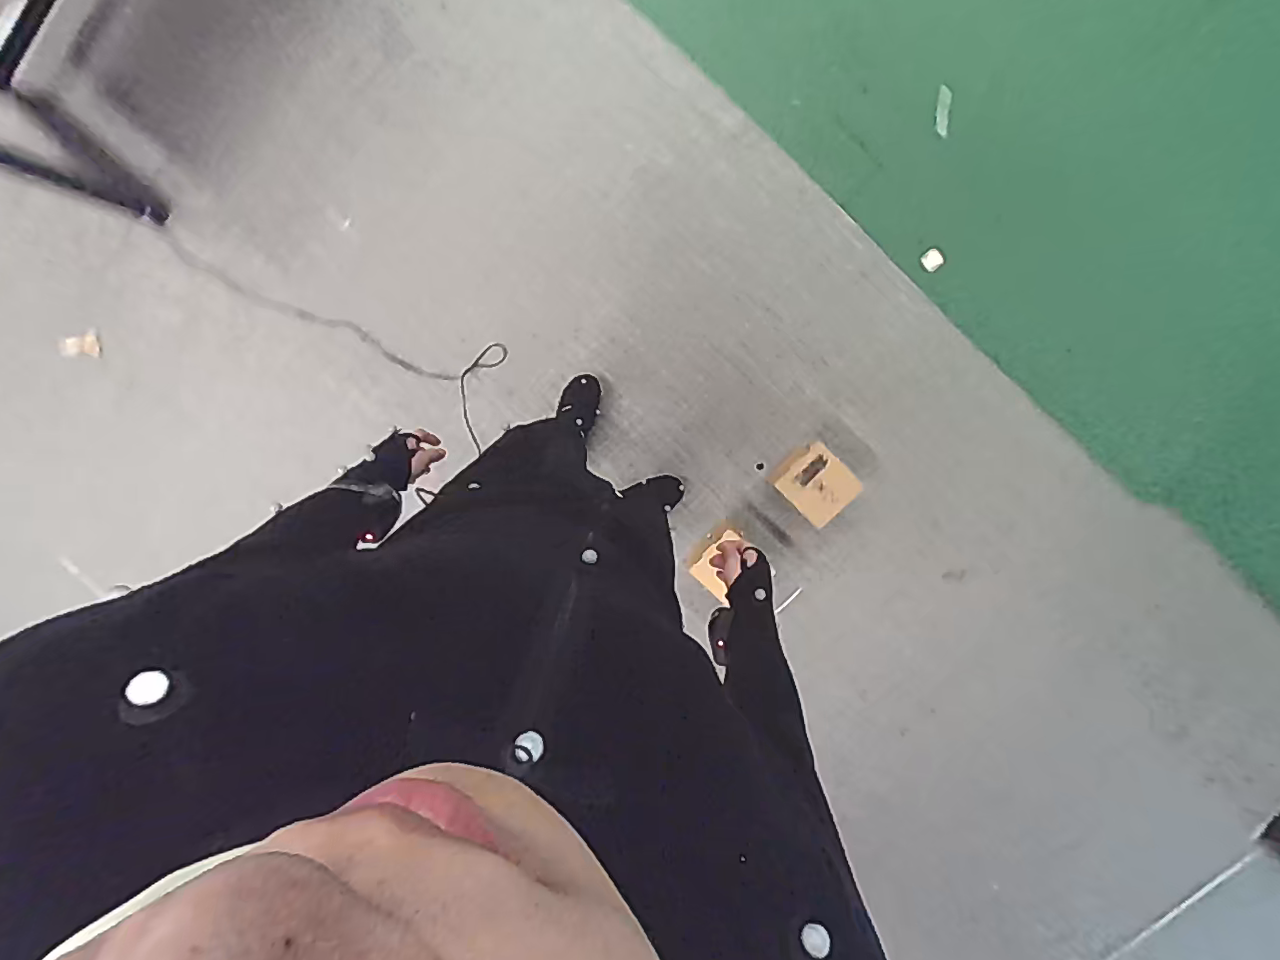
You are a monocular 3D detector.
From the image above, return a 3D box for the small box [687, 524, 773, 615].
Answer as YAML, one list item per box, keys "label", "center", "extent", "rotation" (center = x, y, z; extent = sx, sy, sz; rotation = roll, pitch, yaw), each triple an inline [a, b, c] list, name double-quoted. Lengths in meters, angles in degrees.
- label: "small box"
  center: [0.253, 0.247, 1.545]
  extent: [0.179, 0.176, 0.168]
  rotation: [43, 99, 1]
